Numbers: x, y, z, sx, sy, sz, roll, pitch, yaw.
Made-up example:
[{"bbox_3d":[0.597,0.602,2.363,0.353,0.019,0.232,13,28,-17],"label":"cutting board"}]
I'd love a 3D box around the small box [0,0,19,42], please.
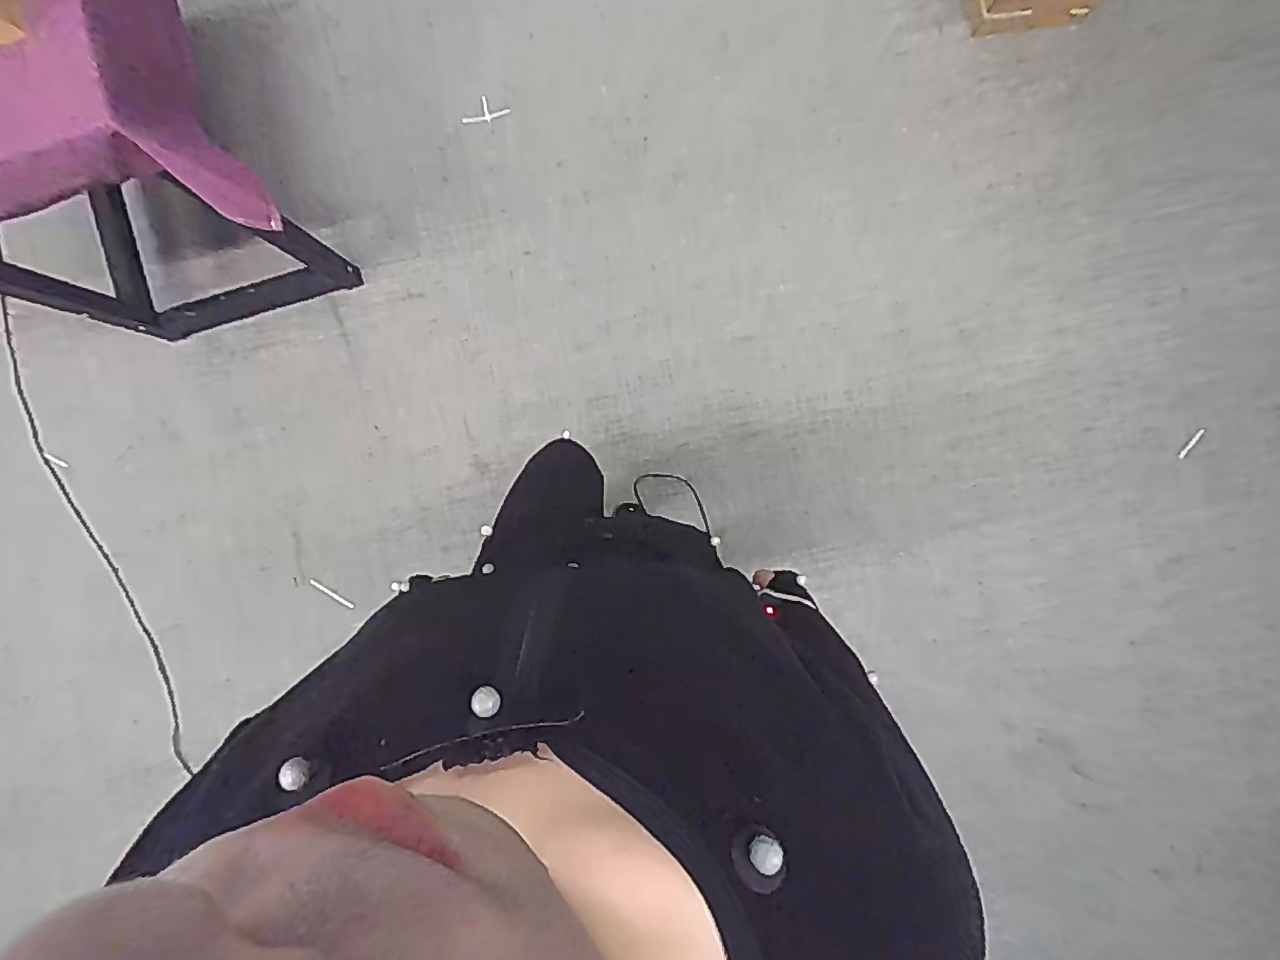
[{"bbox_3d":[-0.982,-0.703,0.704,0.179,0.176,0.168,-12,90,2],"label":"small box"}]
